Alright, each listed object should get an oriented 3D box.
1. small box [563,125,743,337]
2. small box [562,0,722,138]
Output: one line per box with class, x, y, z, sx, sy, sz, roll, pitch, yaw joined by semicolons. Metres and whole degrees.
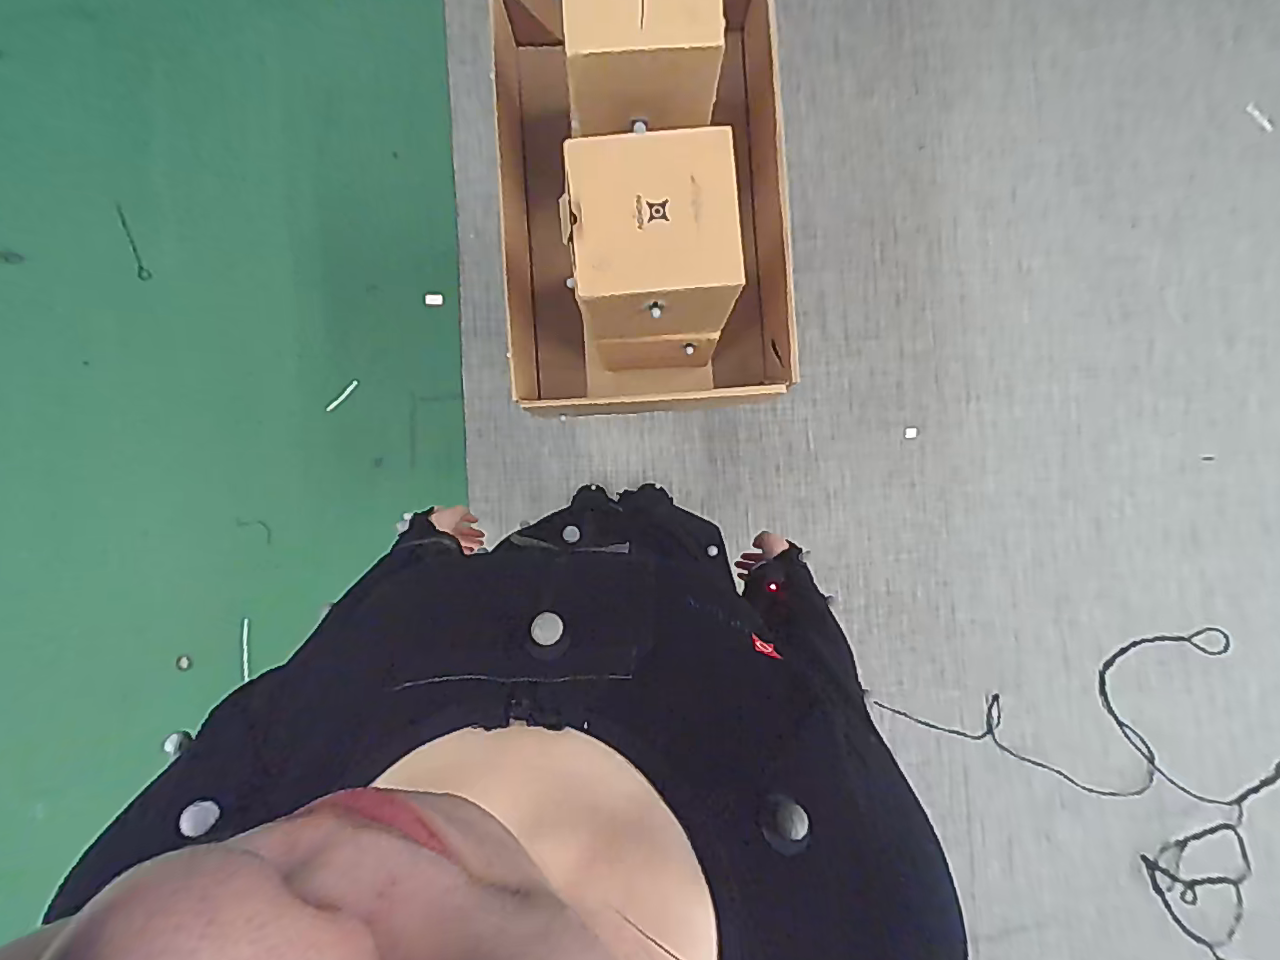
small box;0.014;-0.274;0.634;0.179;0.176;0.168;-6;90;0
small box;-0.001;-0.527;0.630;0.168;0.176;0.179;-3;92;1
